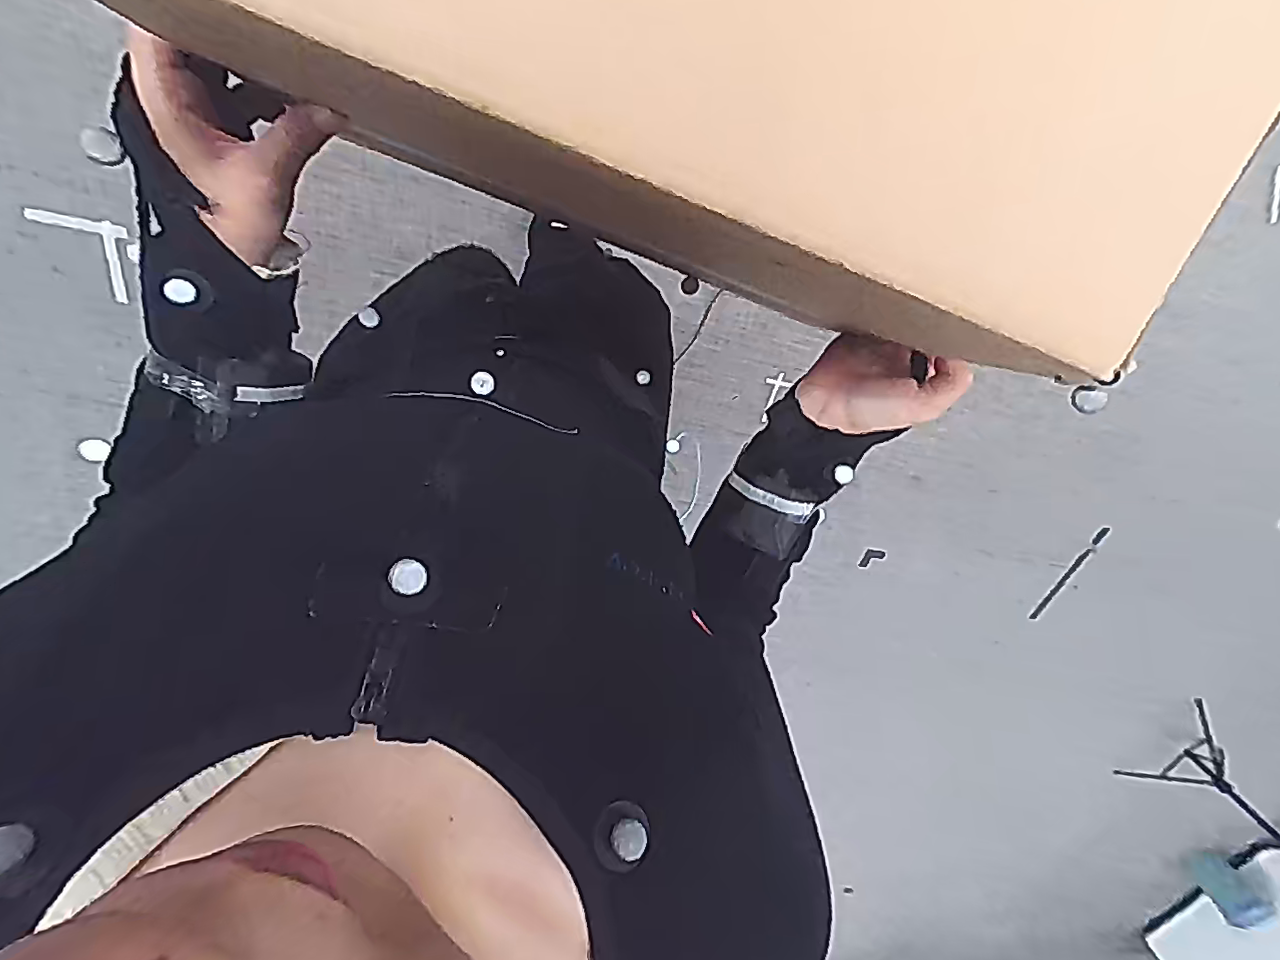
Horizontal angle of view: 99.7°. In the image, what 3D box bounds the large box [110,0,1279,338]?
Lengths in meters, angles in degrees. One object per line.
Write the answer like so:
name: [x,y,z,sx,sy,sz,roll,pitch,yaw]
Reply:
large box: [0.023,-0.294,0.252,0.408,0.320,0.320,16,110,-11]
